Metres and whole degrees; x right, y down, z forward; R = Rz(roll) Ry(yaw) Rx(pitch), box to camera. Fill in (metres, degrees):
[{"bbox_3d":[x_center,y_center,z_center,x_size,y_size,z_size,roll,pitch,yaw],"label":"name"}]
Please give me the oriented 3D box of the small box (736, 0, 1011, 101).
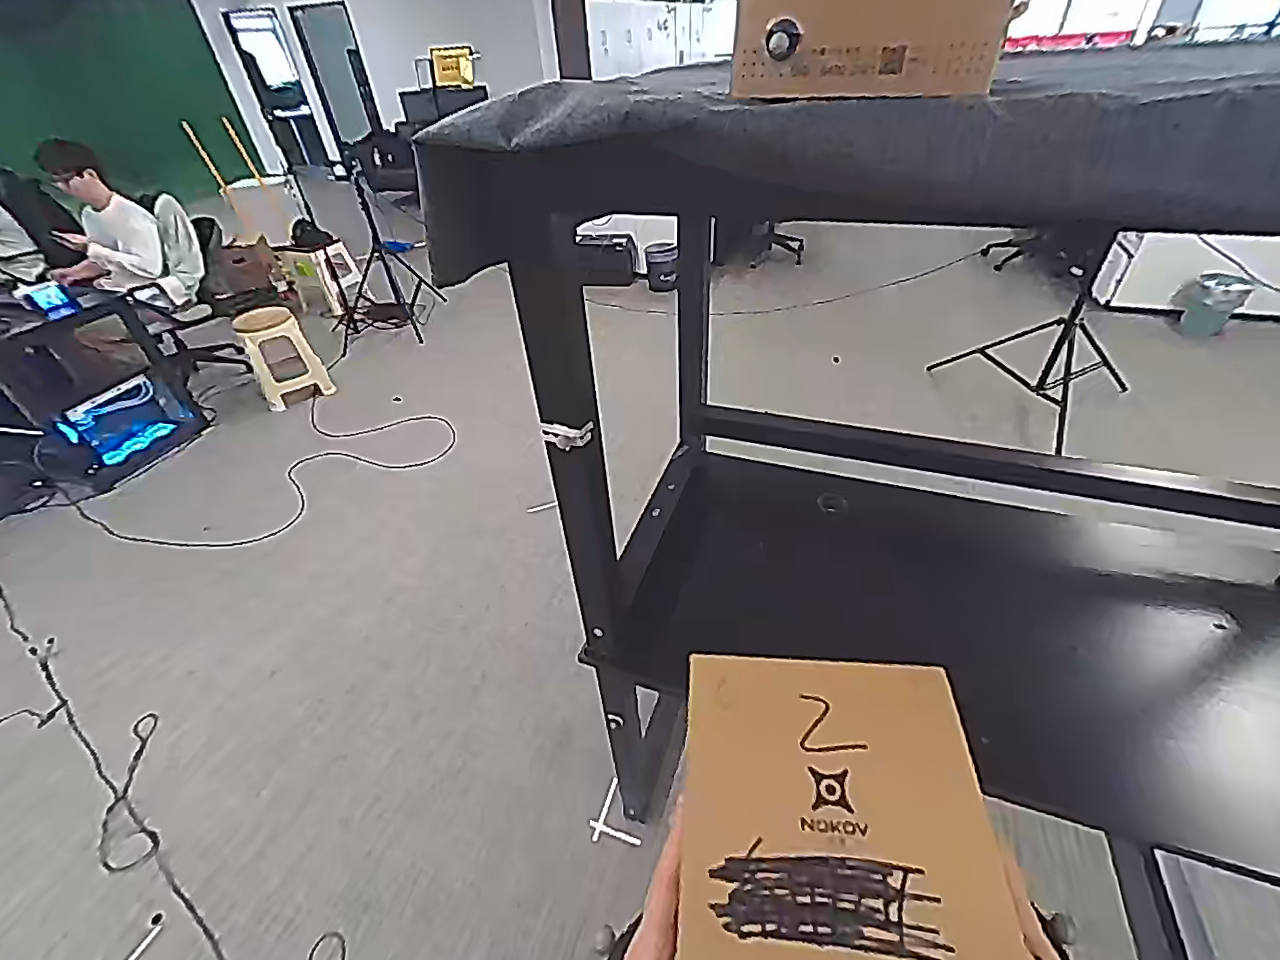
[{"bbox_3d":[0.164,-0.368,0.374,0.168,0.176,0.179,10,39,15],"label":"small box"}]
